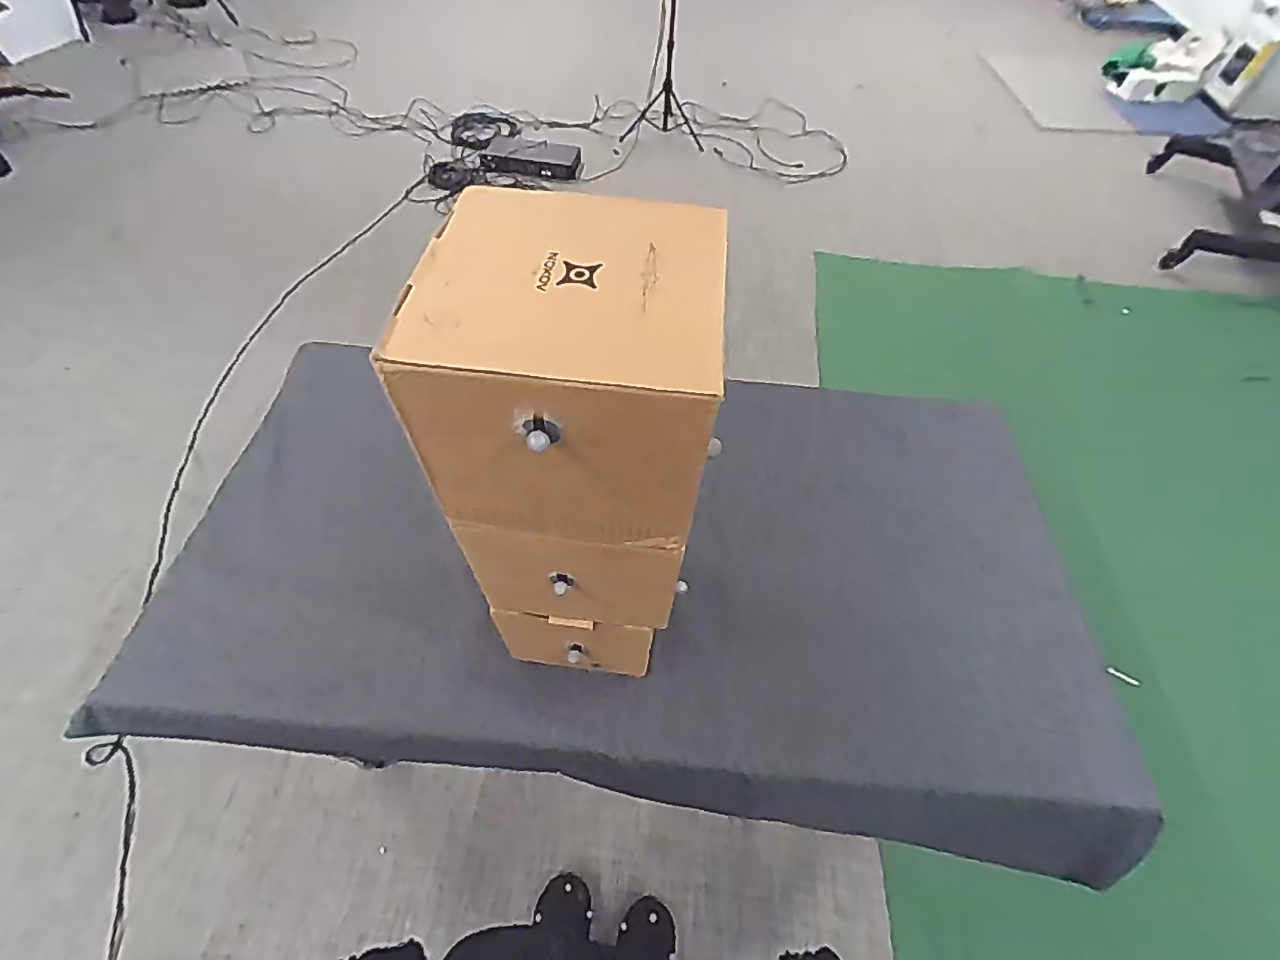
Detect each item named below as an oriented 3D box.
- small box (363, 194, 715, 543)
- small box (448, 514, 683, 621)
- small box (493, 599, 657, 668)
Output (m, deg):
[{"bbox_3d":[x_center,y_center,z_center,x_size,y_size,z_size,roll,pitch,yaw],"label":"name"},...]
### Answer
[{"bbox_3d":[-0.047,-0.069,0.375,0.179,0.176,0.168,5,57,1],"label":"small box"},{"bbox_3d":[-0.050,0.023,0.508,0.179,0.176,0.168,5,55,3],"label":"small box"},{"bbox_3d":[-0.059,0.113,0.646,0.168,0.176,0.179,5,56,3],"label":"small box"}]
